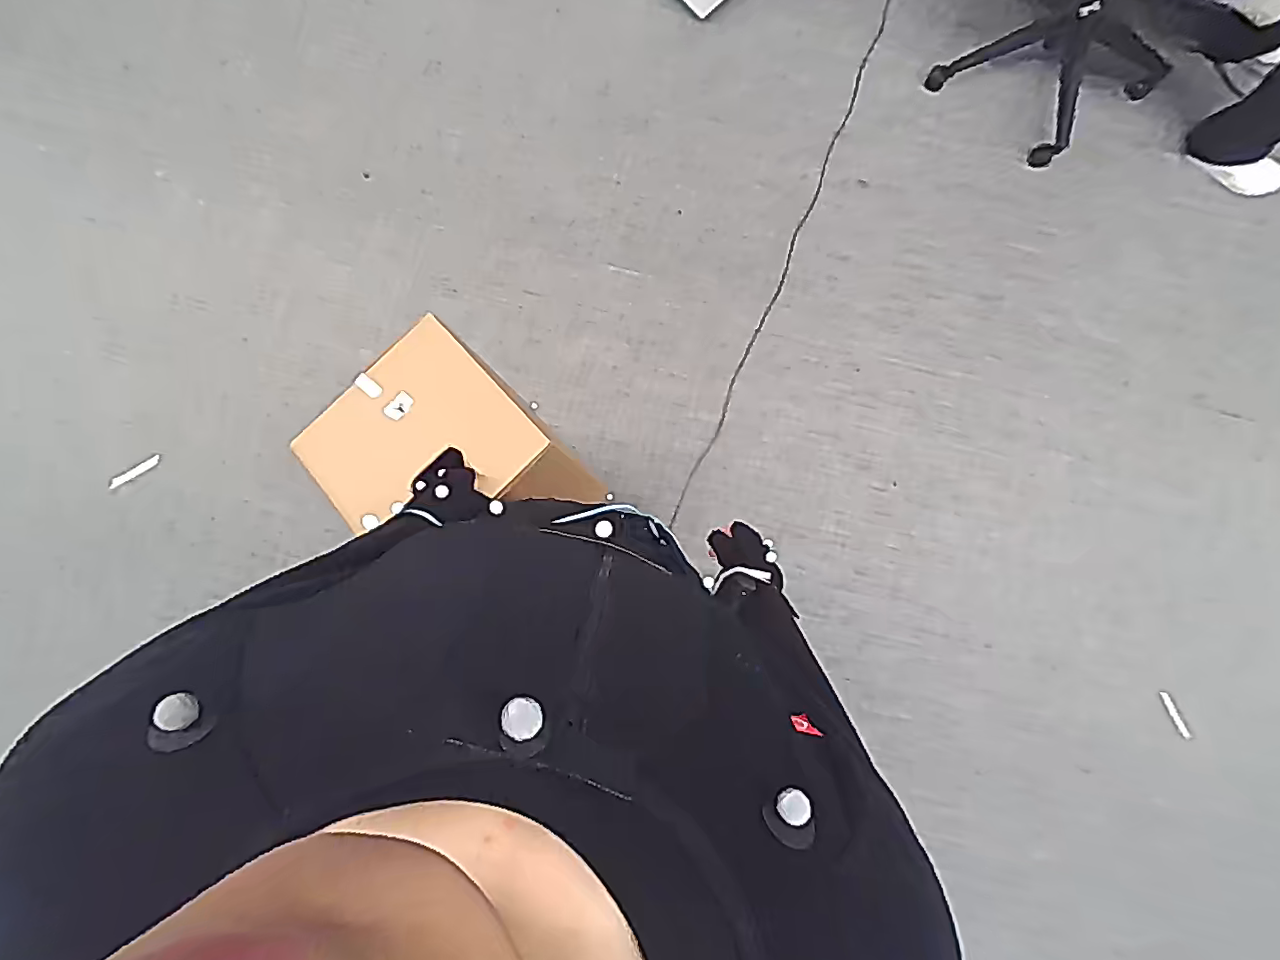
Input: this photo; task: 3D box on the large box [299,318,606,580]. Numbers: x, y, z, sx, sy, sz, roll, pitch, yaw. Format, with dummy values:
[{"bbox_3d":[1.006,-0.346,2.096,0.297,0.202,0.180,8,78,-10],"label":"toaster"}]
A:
[{"bbox_3d":[-0.317,-0.028,1.025,0.320,0.408,0.320,-44,76,-1],"label":"large box"}]
